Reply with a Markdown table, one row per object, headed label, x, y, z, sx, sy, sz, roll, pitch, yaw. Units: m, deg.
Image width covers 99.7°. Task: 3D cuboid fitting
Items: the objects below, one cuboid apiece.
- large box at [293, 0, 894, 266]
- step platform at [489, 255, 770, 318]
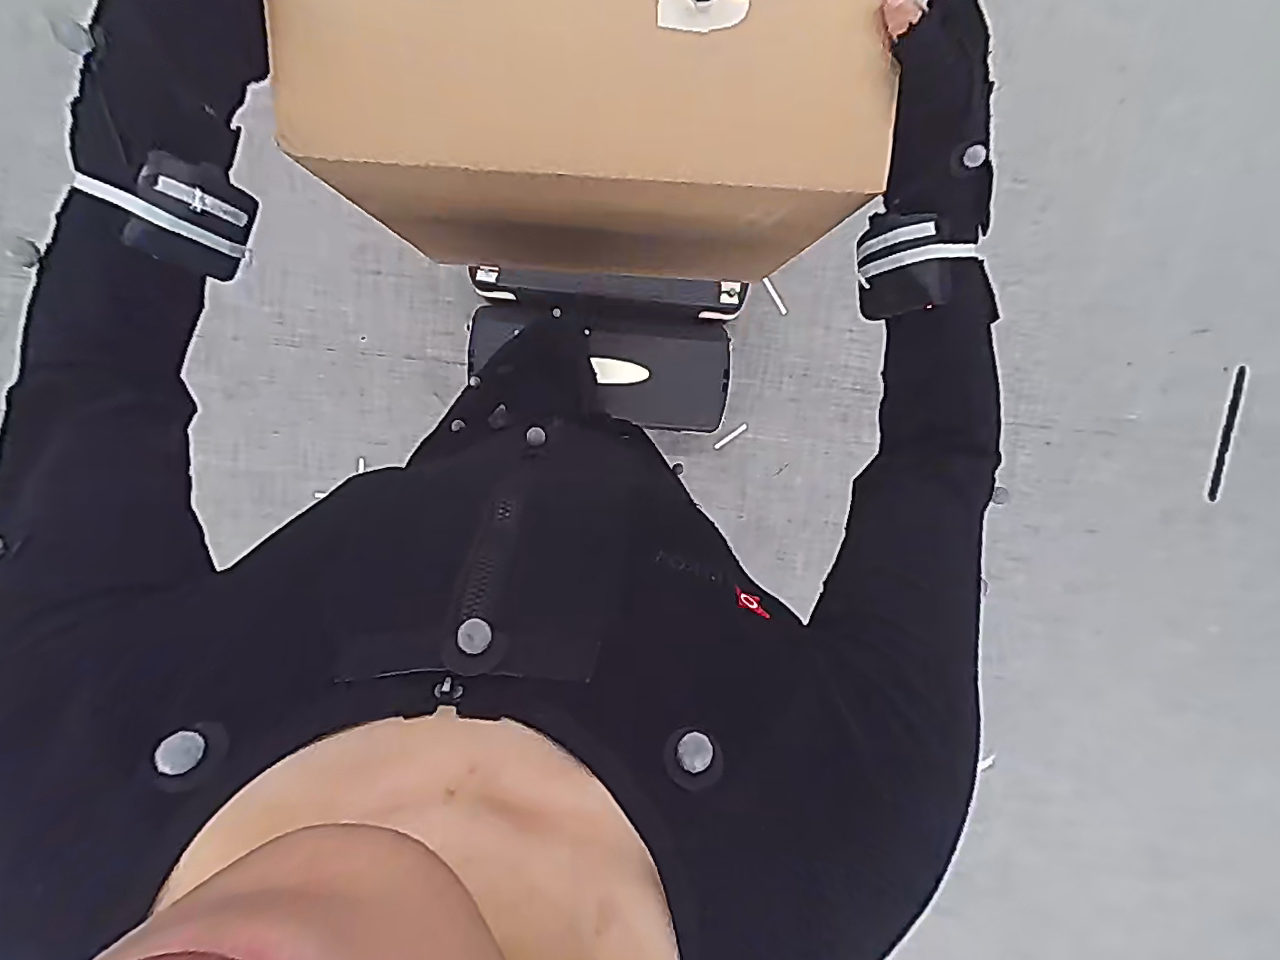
| label | x | y | z | sx | sy | sz | roll | pitch | yaw |
| --- | --- | --- | --- | --- | --- | --- | --- | --- | --- |
| large box | -0.034 | -0.394 | 0.494 | 0.408 | 0.320 | 0.320 | 1 | 100 | -4 |
| step platform | -0.025 | -0.580 | 1.332 | 0.684 | 0.204 | 0.286 | 3 | 98 | -4 |
